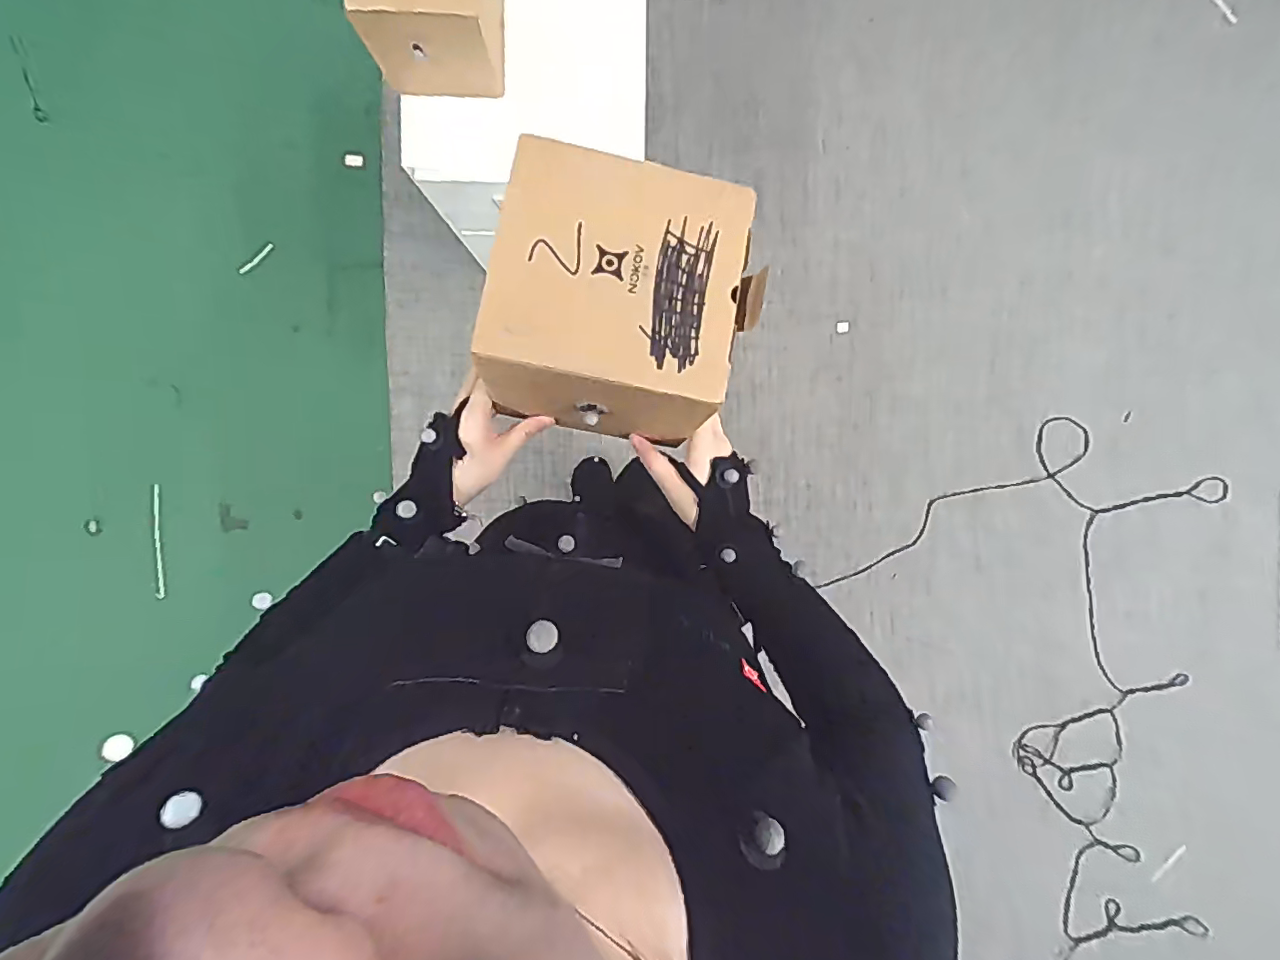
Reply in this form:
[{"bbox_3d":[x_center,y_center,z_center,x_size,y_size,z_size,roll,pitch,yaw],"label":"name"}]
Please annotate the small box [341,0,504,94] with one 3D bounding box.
[{"bbox_3d":[-0.303,-0.694,0.780,0.179,0.176,0.168,0,94,-2],"label":"small box"}]
